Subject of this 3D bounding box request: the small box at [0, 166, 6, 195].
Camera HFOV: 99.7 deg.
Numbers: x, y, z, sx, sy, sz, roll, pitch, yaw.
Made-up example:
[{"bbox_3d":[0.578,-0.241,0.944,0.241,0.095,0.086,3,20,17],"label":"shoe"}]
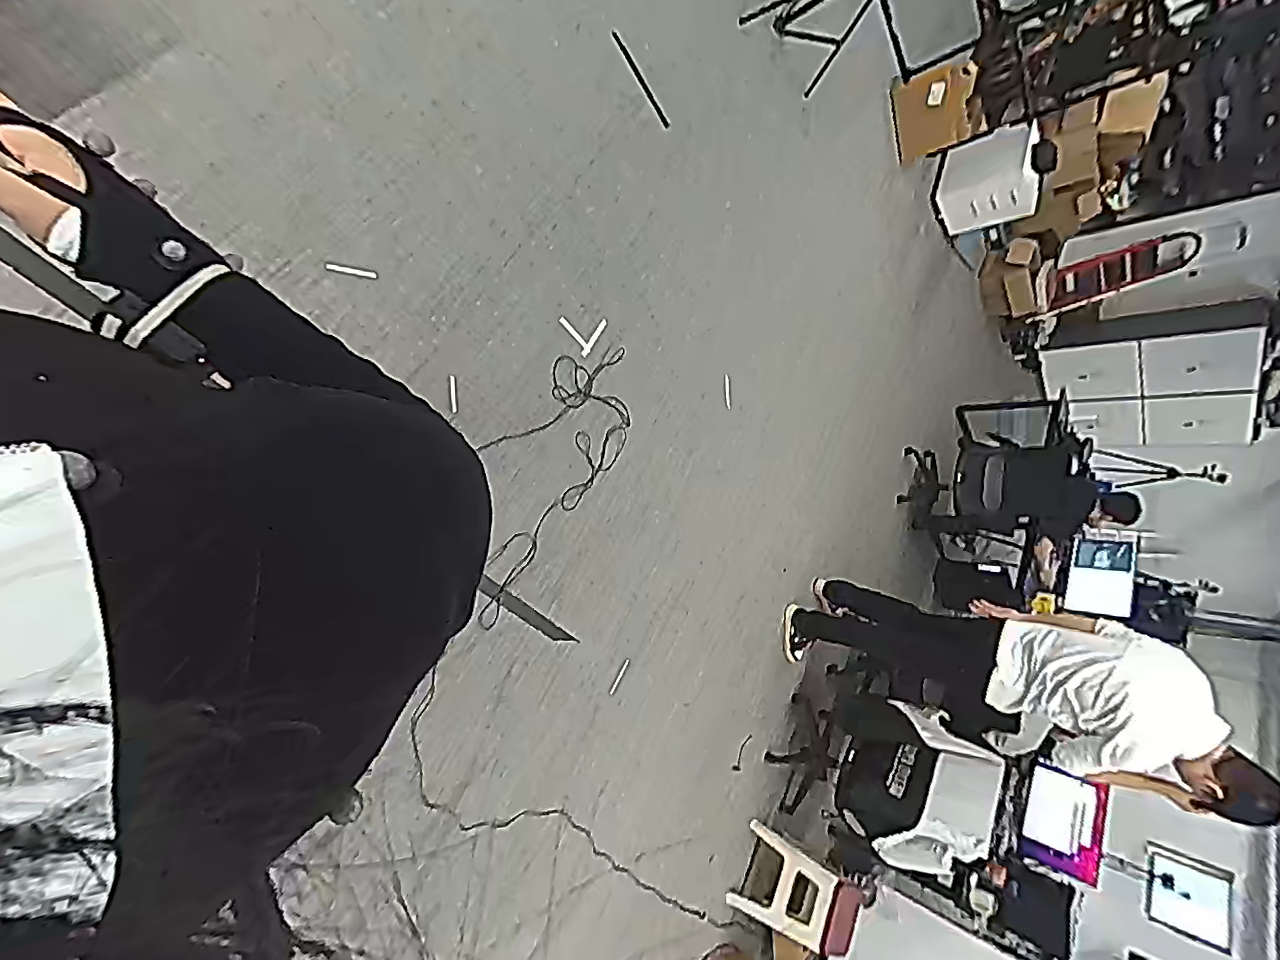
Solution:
[{"bbox_3d":[-0.533,-0.261,0.309,0.168,0.176,0.179,-26,119,-35],"label":"small box"}]
